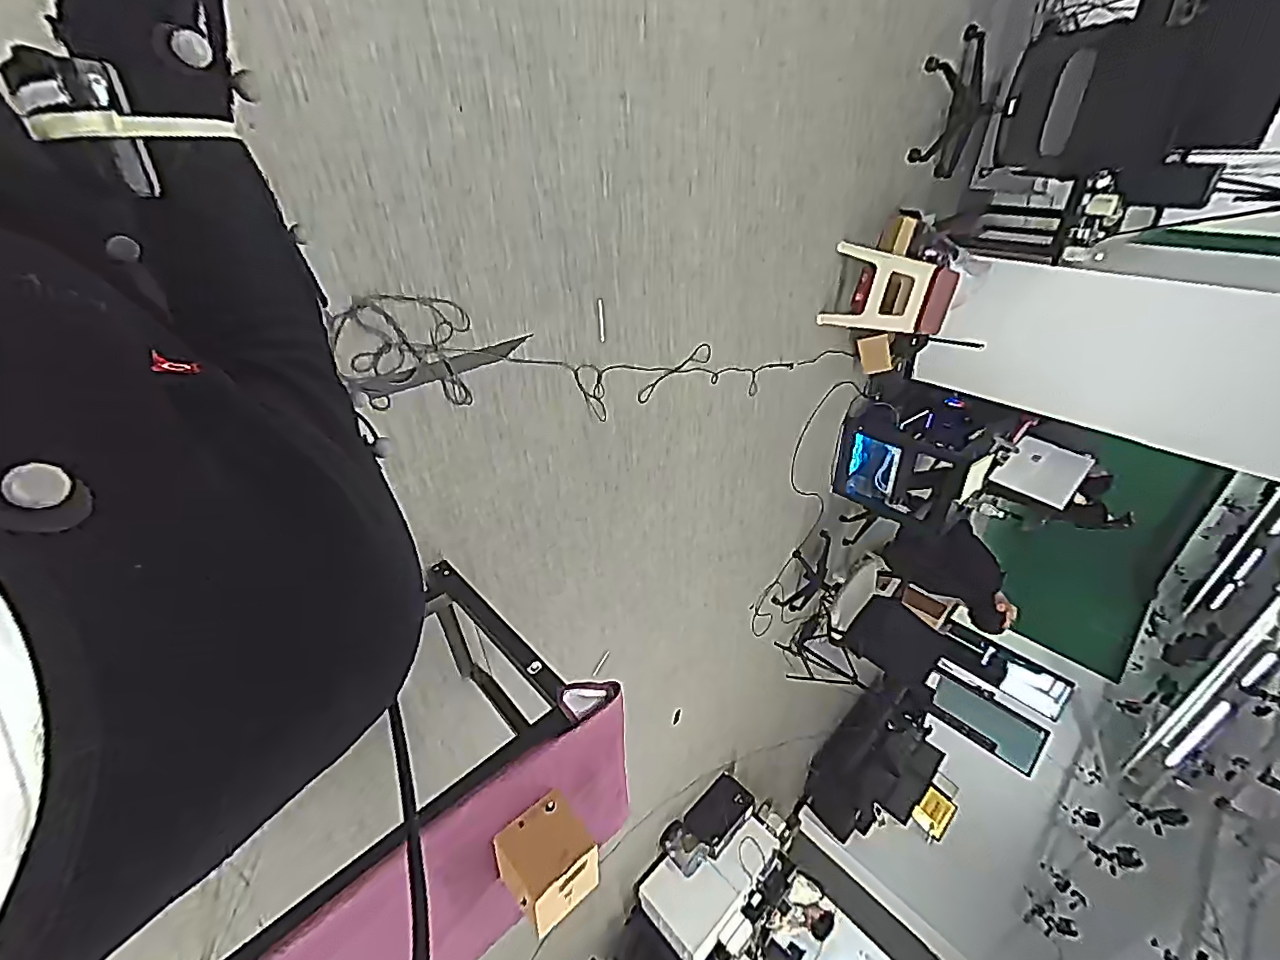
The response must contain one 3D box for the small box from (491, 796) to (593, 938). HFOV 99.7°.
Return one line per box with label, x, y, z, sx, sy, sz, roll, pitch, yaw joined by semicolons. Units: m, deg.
small box;-0.222;0.859;1.222;0.168;0.176;0.179;-23;128;-37
